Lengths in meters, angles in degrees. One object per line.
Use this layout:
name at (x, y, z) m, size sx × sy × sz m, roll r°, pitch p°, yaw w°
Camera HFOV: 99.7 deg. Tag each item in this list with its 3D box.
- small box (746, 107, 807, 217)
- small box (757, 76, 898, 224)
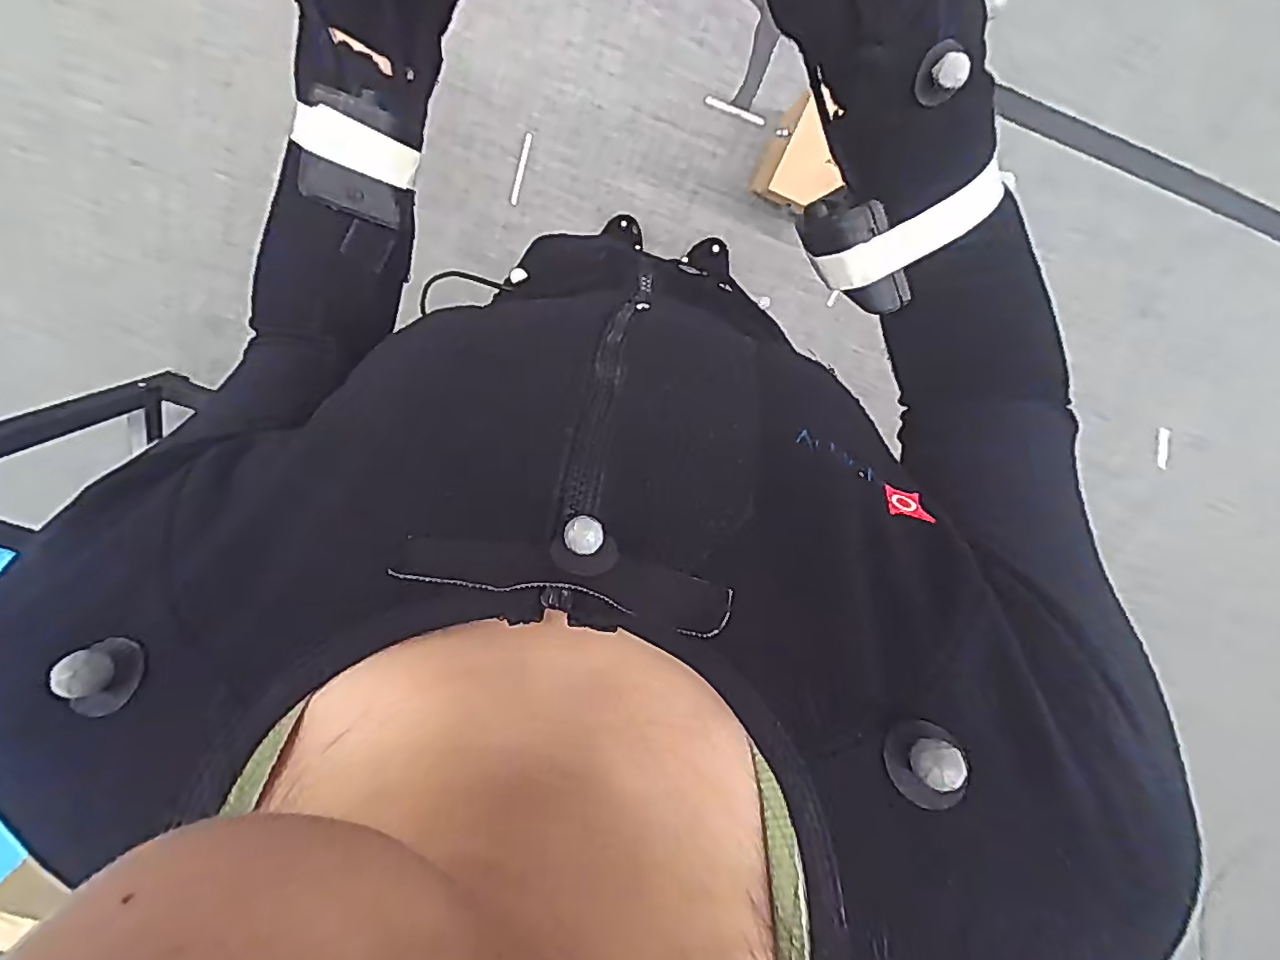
small box at (0.349, -0.675, 1.152) m, size 0.179 × 0.176 × 0.168 m, roll 22°, pitch 115°, yaw -10°
small box at (0.333, -0.602, 1.007) m, size 0.168 × 0.176 × 0.179 m, roll 23°, pitch 116°, yaw -7°
